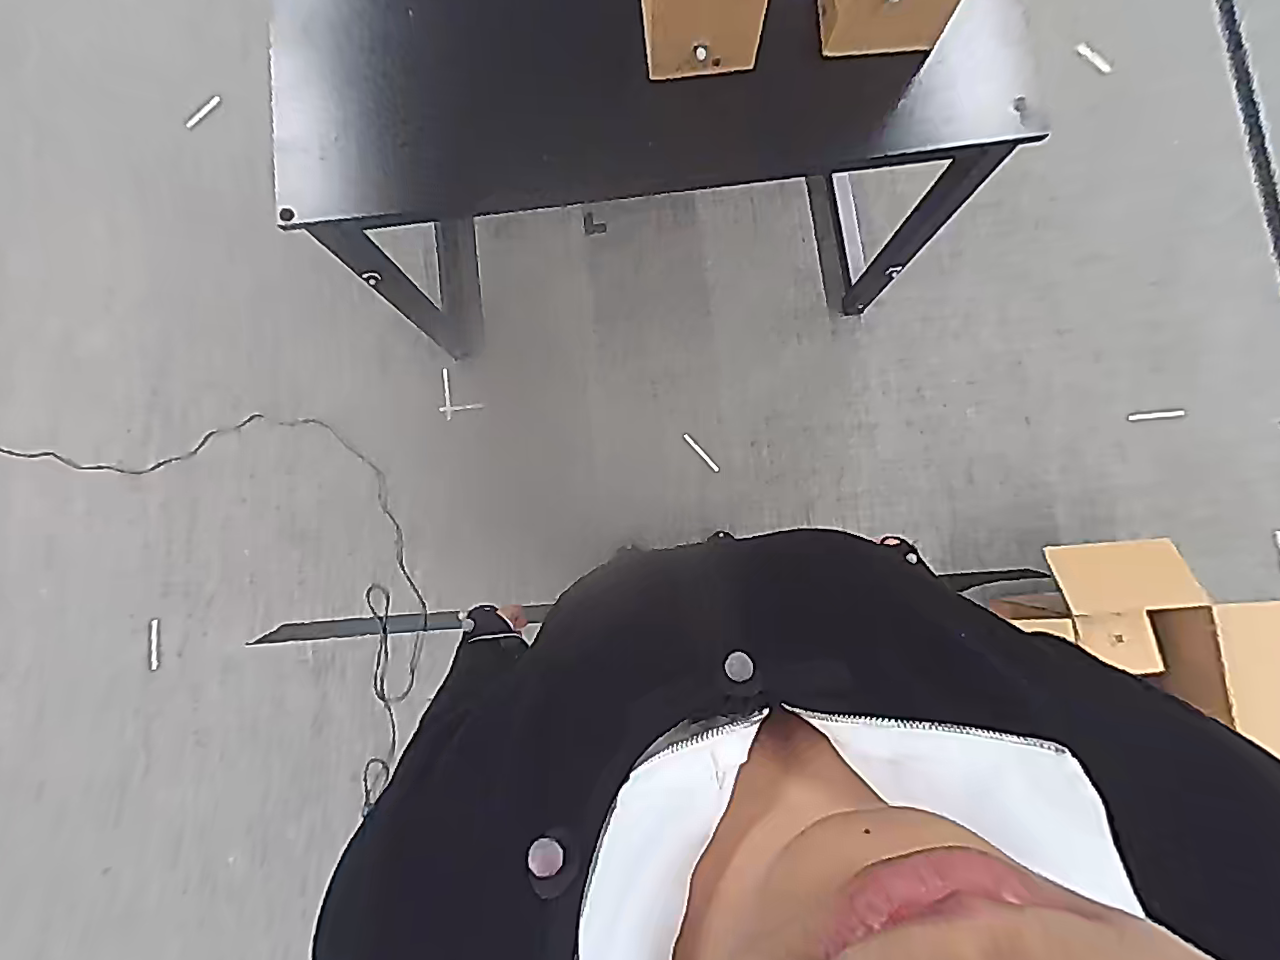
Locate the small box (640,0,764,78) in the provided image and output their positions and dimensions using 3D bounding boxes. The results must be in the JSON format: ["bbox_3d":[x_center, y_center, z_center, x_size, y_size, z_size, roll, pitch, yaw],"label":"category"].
[{"bbox_3d":[0.084,-0.735,0.783,0.168,0.176,0.179,-6,85,1],"label":"small box"}]

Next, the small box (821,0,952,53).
[{"bbox_3d":[0.364,-0.761,0.779,0.179,0.176,0.168,-3,84,2],"label":"small box"}]
